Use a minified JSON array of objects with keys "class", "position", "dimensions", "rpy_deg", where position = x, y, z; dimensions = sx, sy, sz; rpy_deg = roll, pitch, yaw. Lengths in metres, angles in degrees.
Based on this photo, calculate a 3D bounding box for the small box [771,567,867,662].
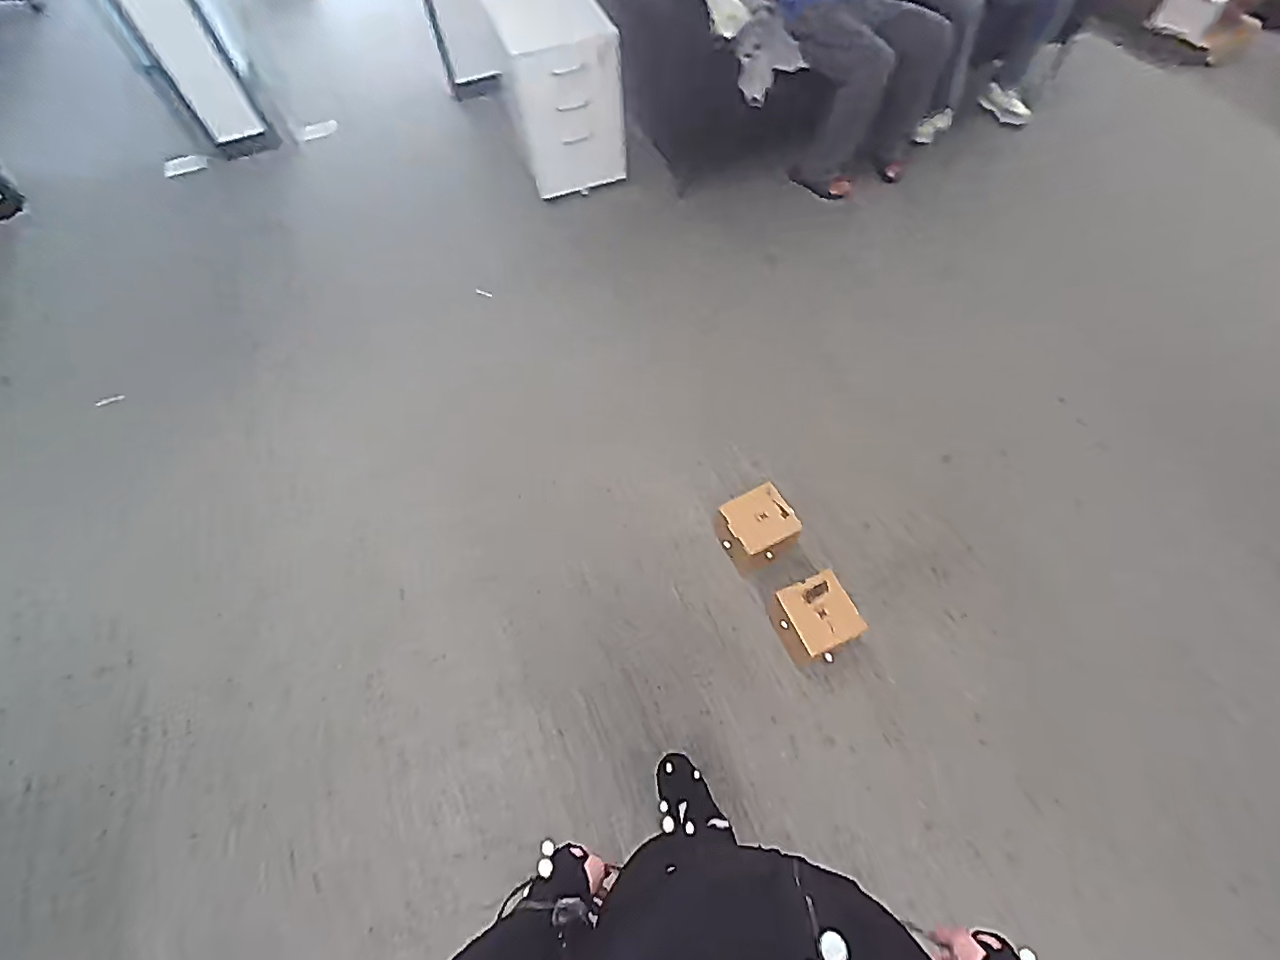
[{"class":"small box","position":[0.461,0.358,1.426],"dimensions":[0.168,0.176,0.179],"rpy_deg":[-18,61,-5]}]

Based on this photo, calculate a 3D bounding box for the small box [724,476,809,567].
[{"class":"small box","position":[0.355,0.124,1.558],"dimensions":[0.179,0.176,0.168],"rpy_deg":[29,64,19]}]
